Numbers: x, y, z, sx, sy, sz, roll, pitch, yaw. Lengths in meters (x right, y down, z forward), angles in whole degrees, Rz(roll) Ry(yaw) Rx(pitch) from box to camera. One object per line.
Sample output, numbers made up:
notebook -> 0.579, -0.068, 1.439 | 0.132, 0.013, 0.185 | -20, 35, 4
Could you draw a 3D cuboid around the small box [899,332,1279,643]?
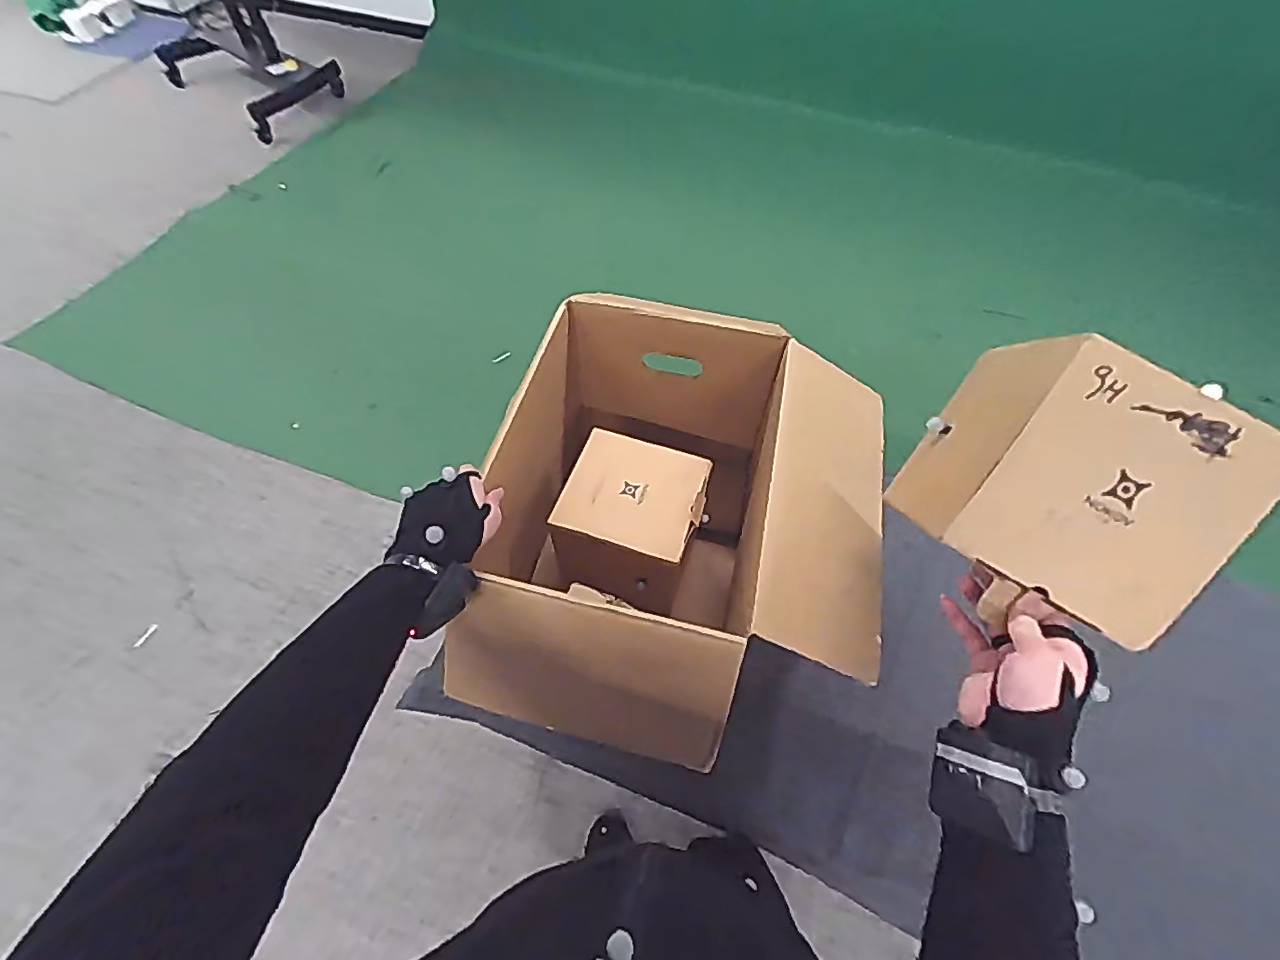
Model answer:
small box -> 0.351, -0.004, 0.464 | 0.168, 0.176, 0.179 | 30, 104, 5
